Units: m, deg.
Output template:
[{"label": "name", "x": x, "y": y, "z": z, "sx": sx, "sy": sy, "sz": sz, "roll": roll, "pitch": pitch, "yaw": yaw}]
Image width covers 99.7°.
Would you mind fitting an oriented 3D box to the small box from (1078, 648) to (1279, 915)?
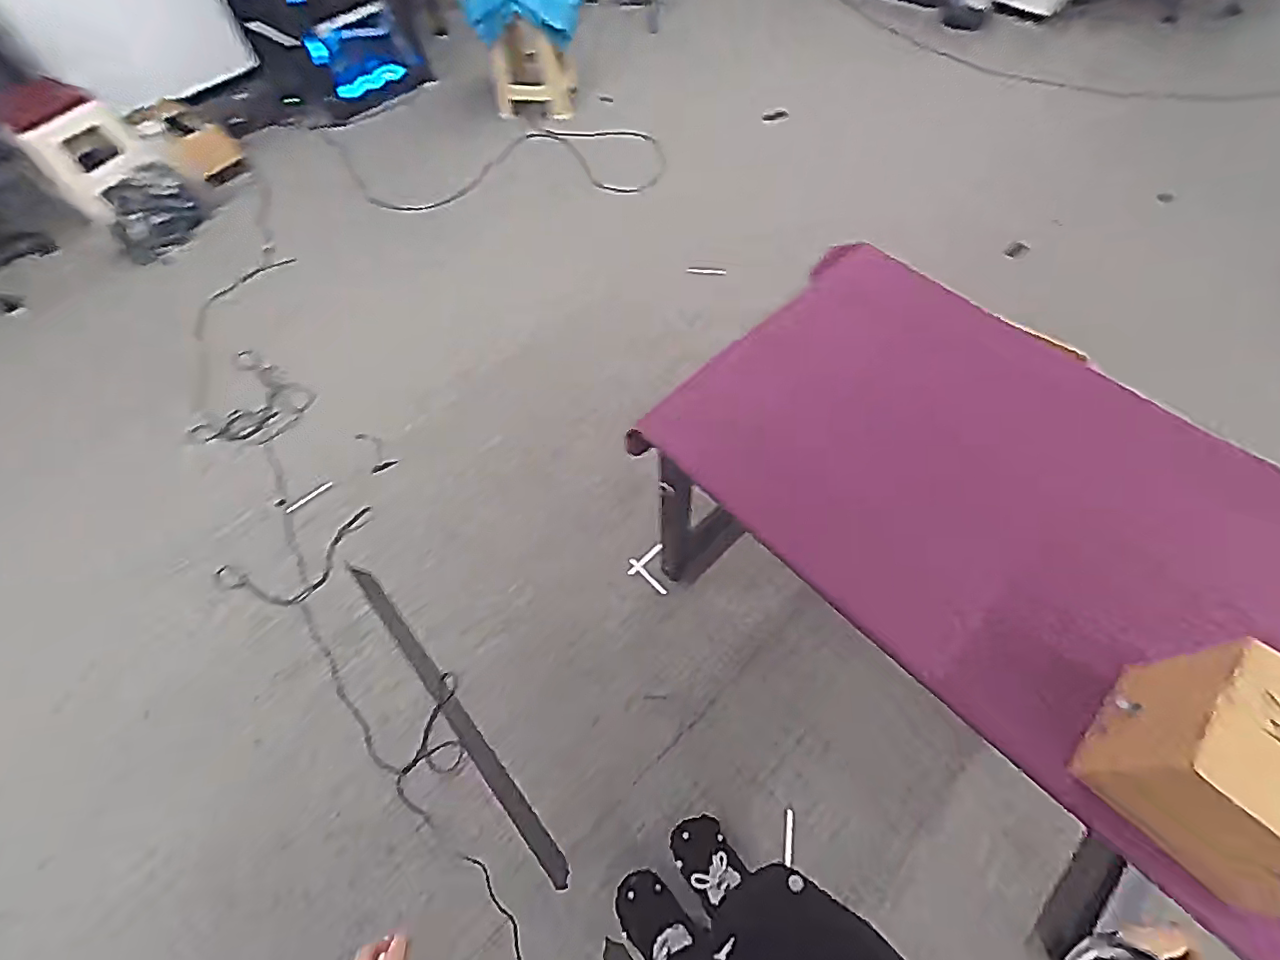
[{"label": "small box", "x": 0.609, "y": 0.301, "z": 0.540, "sx": 0.168, "sy": 0.176, "sz": 0.179, "roll": -40, "pitch": 66, "yaw": -18}]
